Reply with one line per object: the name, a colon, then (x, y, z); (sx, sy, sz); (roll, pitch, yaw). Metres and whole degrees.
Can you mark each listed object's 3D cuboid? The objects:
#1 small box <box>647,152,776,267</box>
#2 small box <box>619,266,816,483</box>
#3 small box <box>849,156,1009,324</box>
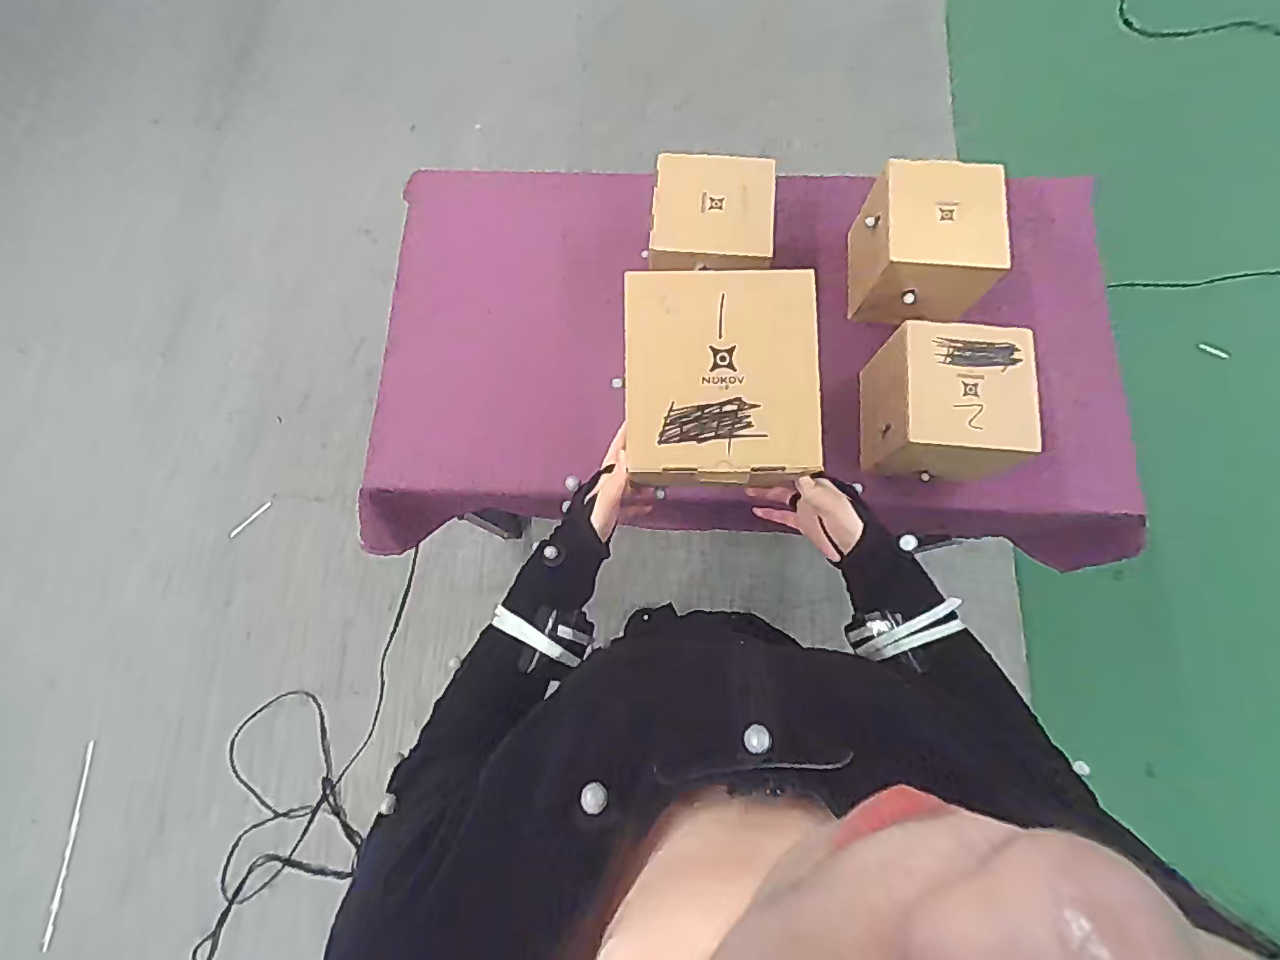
small box: (0.106, -0.380, 0.853); (0.179, 0.176, 0.168); (5, 77, 2)
small box: (0.068, -0.089, 0.534); (0.168, 0.176, 0.179); (0, 84, 1)
small box: (0.434, -0.362, 0.837); (0.168, 0.176, 0.179); (5, 76, 4)
